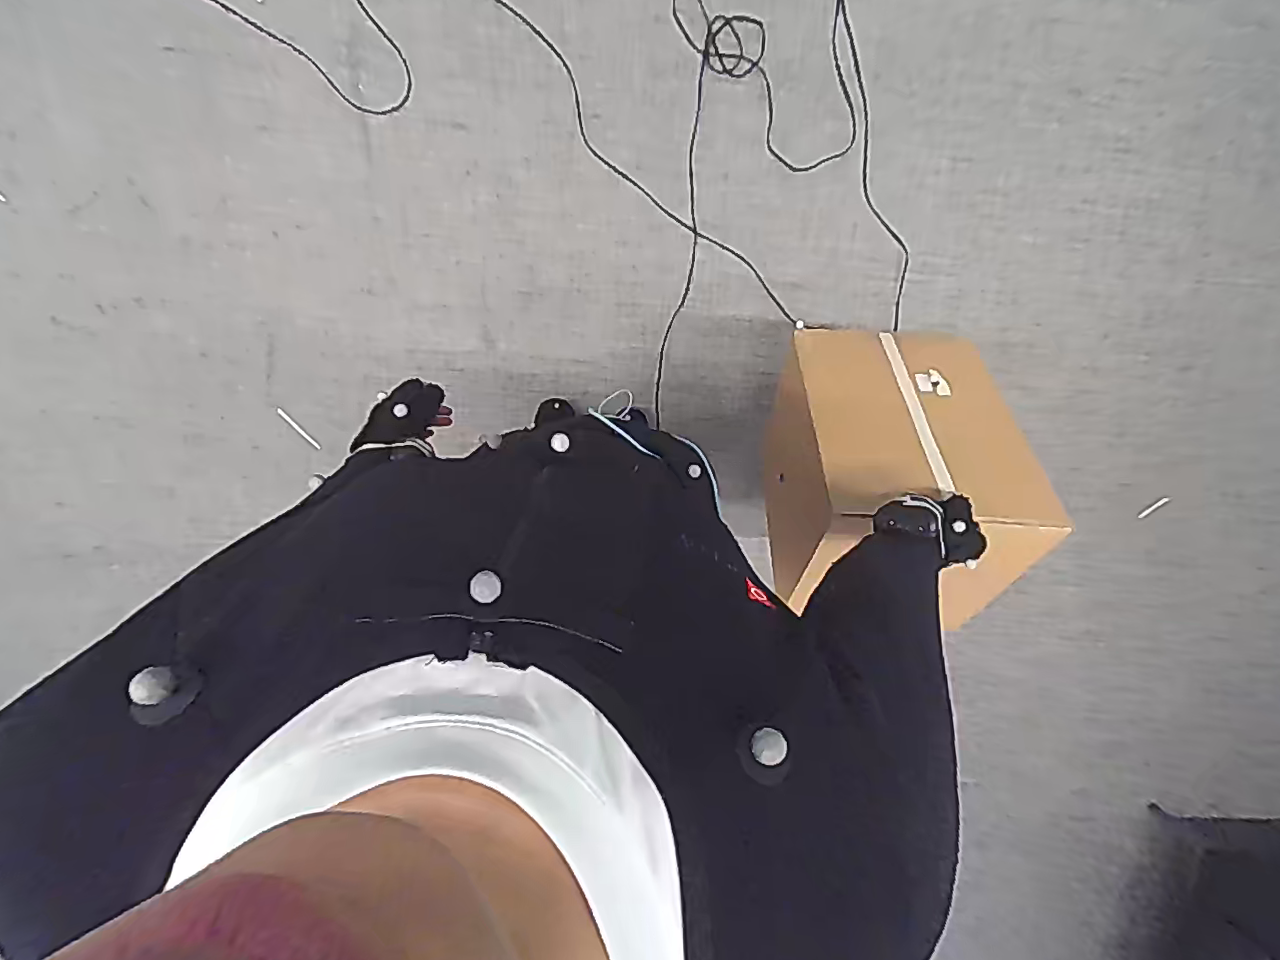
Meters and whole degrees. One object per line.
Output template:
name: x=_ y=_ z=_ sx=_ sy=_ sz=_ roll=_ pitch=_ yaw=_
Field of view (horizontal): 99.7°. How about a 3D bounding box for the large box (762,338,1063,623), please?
large box: x=0.411 y=0.001 z=0.951 sx=0.320 sy=0.408 sz=0.320 roll=4 pitch=140 yaw=0
